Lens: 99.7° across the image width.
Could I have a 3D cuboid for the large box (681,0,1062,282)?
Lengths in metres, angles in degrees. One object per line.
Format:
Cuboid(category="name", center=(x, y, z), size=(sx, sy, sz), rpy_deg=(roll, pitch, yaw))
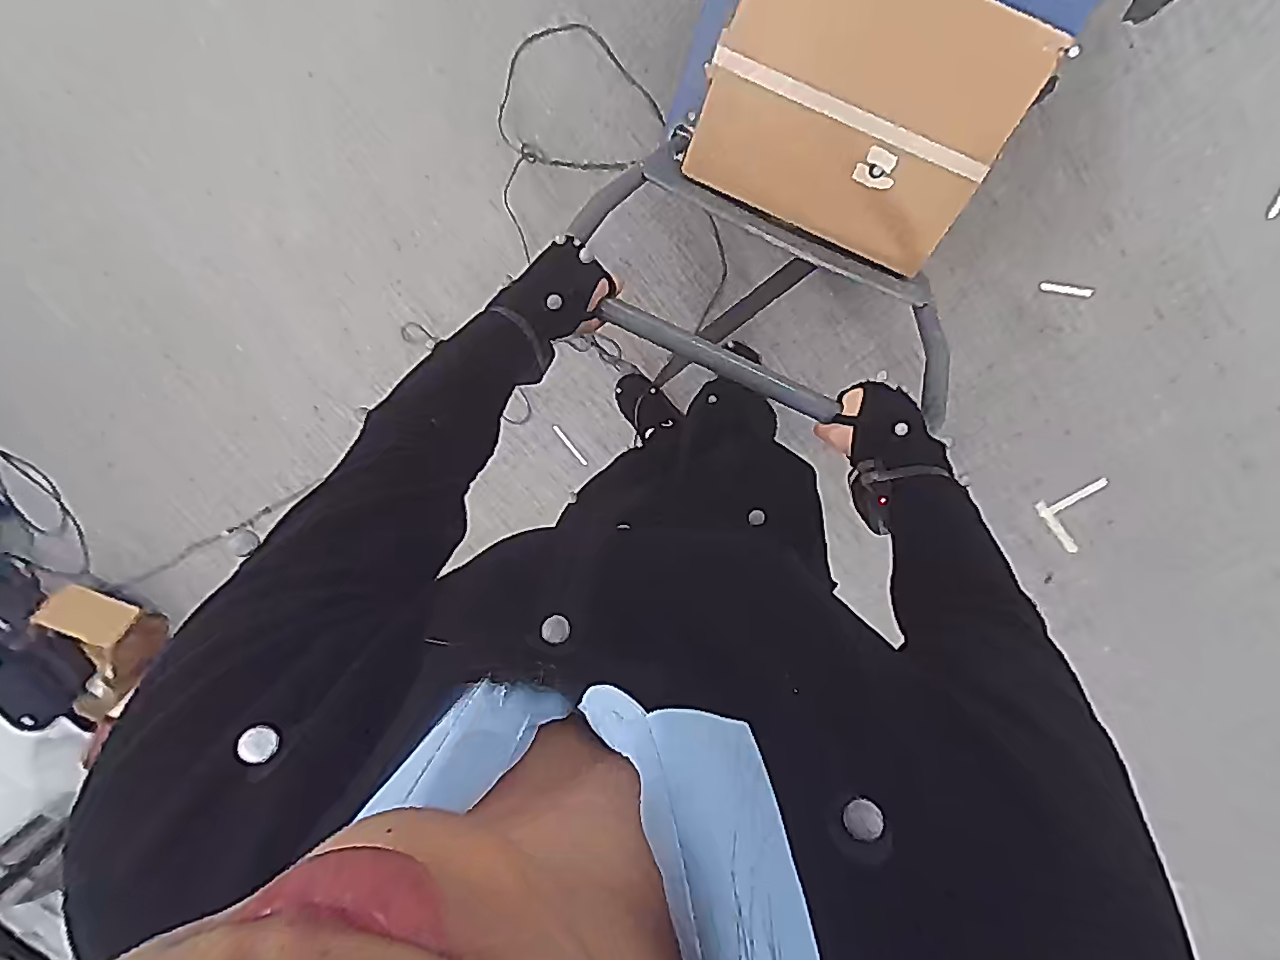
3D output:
Cuboid(category="large box", center=(0.323, -0.579, 0.867), size=(0.408, 0.320, 0.320), rpy_deg=(24, 130, -1))
